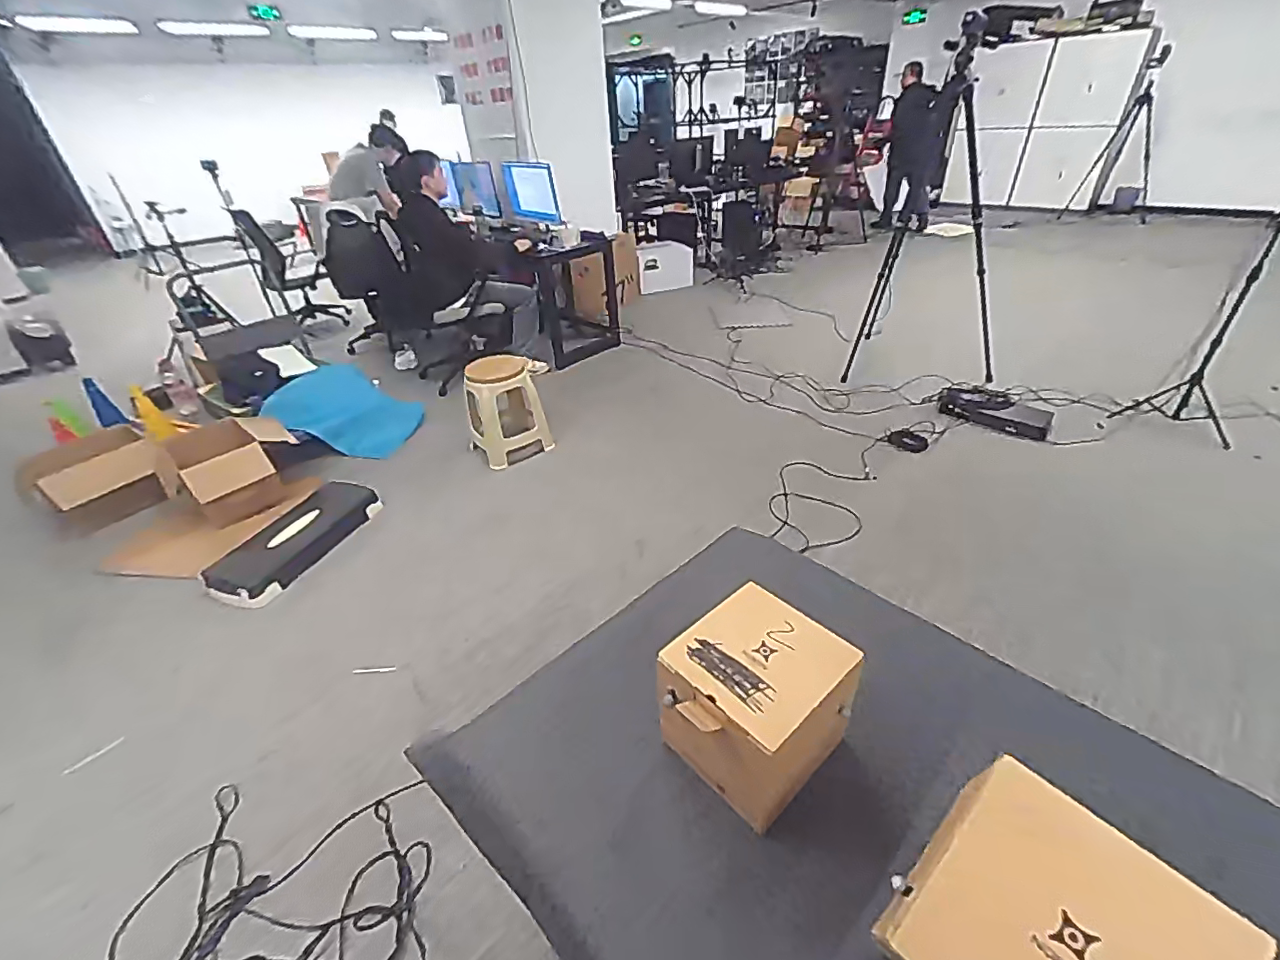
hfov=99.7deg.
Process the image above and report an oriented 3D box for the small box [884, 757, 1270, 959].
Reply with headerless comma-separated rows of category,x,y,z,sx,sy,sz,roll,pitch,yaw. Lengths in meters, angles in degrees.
small box,0.315,0.365,0.431,0.179,0.176,0.168,-44,52,-17
